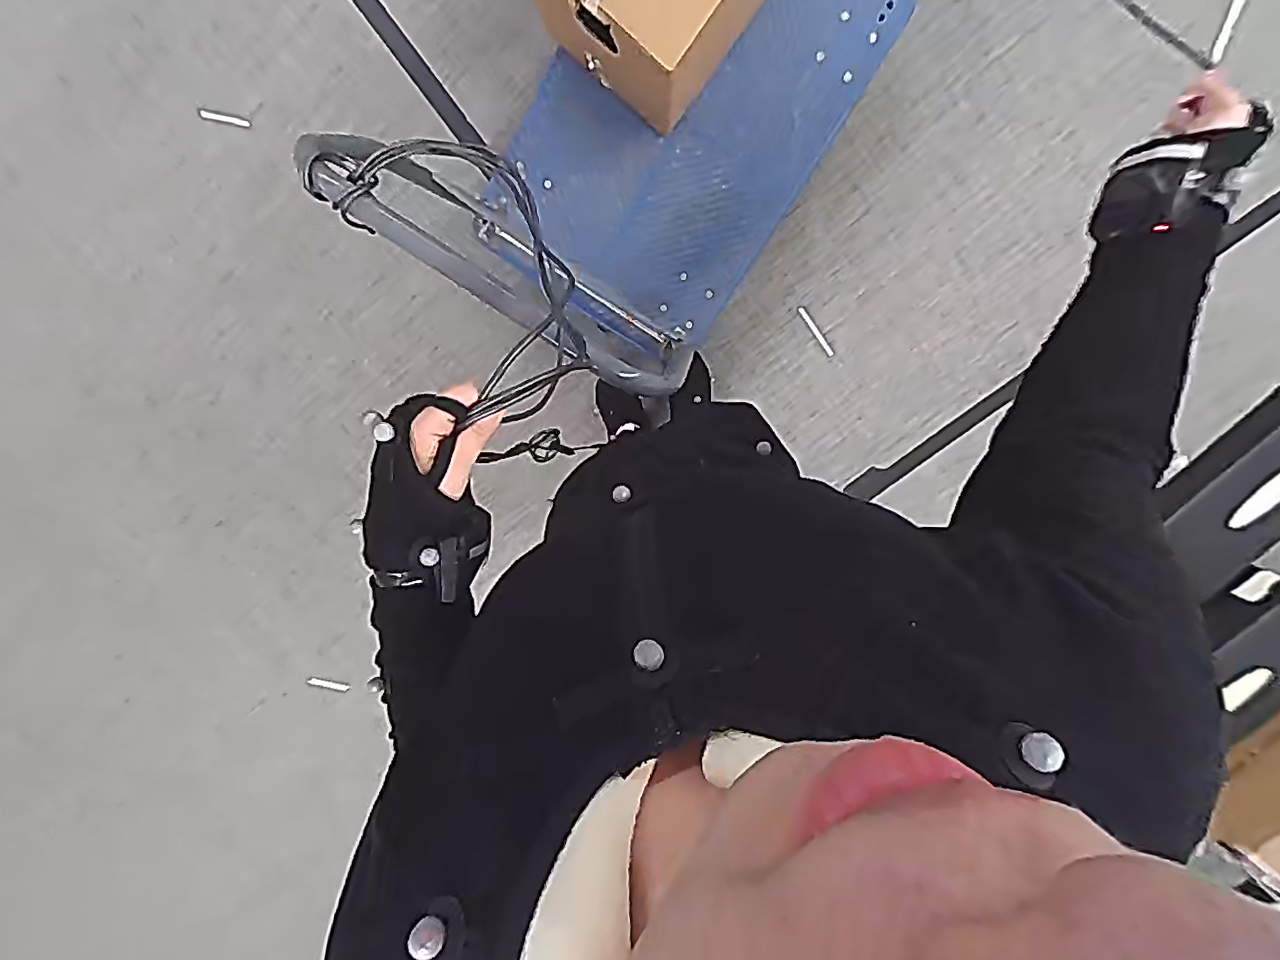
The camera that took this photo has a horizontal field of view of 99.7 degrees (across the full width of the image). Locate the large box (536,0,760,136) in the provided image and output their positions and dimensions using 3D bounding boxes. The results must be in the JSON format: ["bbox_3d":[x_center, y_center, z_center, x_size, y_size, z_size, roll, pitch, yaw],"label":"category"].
[{"bbox_3d":[0.049,-0.917,0.929,0.320,0.320,0.408,37,102,-9],"label":"large box"}]
